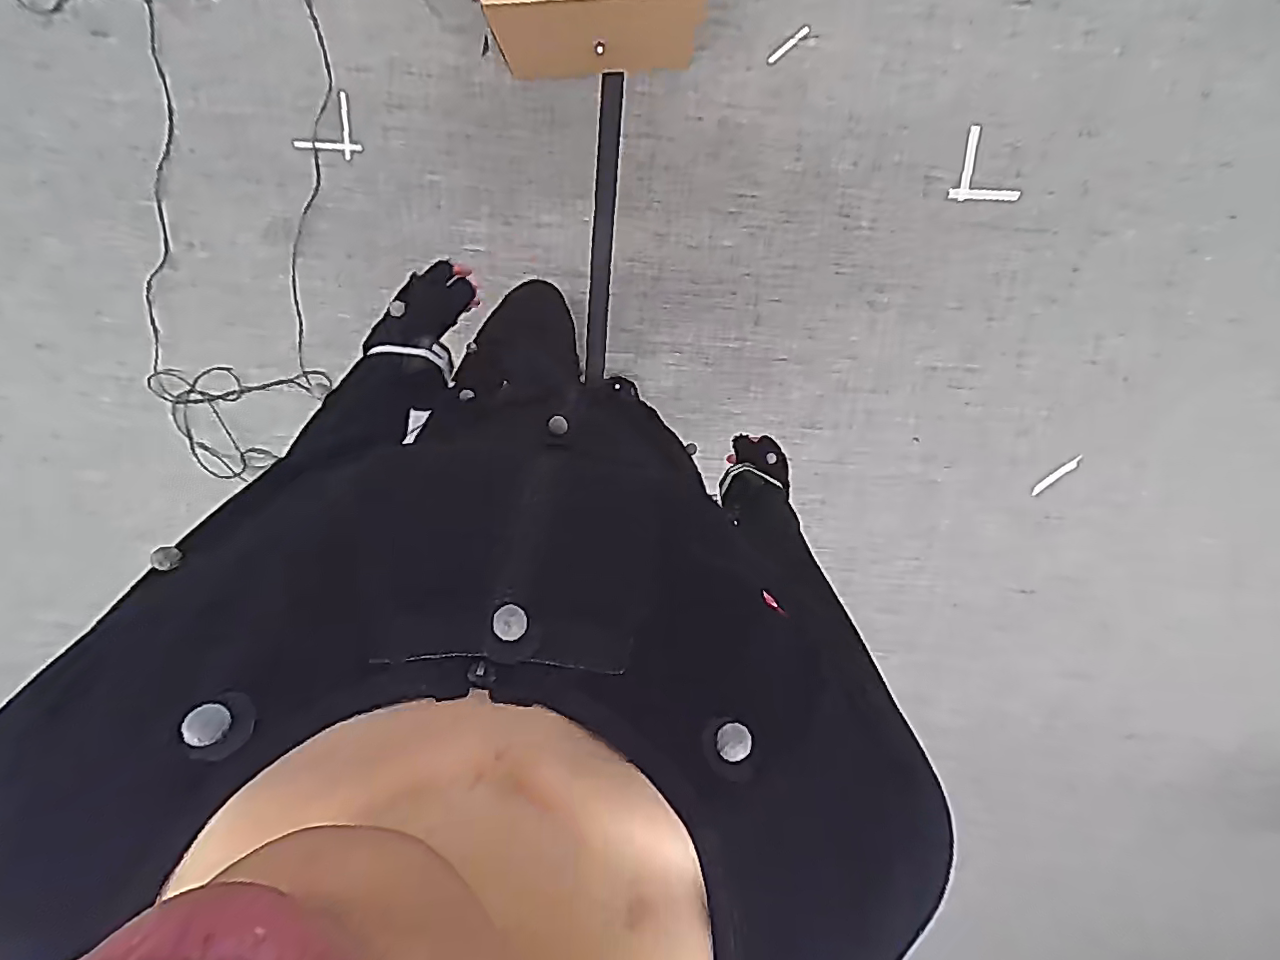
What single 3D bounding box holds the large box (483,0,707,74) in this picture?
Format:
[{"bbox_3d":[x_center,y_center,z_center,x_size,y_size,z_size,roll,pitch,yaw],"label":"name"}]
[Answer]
[{"bbox_3d":[-0.088,-1.032,1.039,0.408,0.320,0.320,-4,107,1],"label":"large box"}]
